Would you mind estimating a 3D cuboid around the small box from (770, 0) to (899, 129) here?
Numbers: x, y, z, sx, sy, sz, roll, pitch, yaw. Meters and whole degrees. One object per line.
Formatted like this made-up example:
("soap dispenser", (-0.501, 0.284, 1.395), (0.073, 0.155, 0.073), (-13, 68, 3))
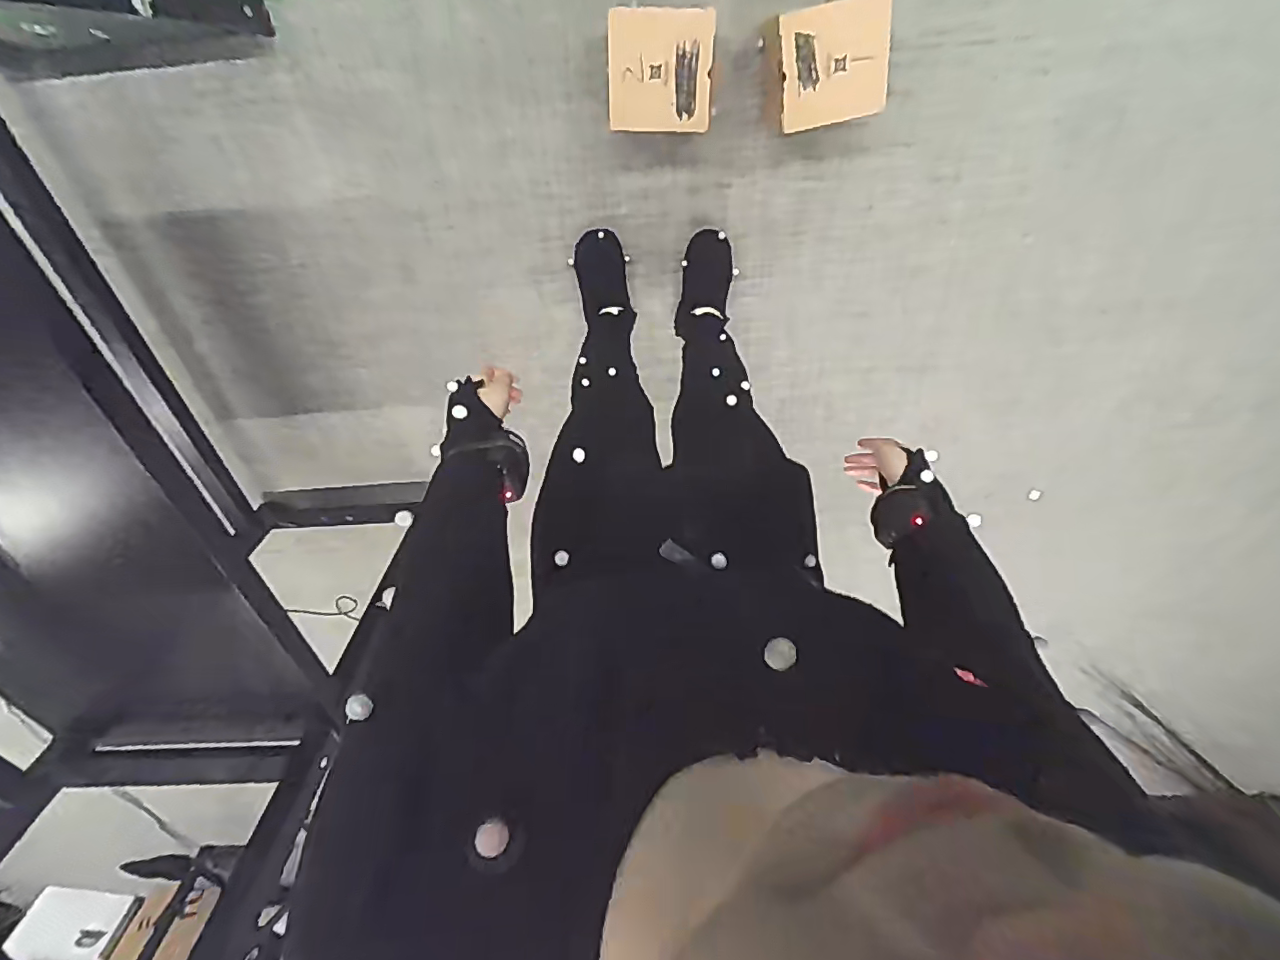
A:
("small box", (0.324, -0.725, 0.936), (0.179, 0.176, 0.168), (-9, 127, 7))
